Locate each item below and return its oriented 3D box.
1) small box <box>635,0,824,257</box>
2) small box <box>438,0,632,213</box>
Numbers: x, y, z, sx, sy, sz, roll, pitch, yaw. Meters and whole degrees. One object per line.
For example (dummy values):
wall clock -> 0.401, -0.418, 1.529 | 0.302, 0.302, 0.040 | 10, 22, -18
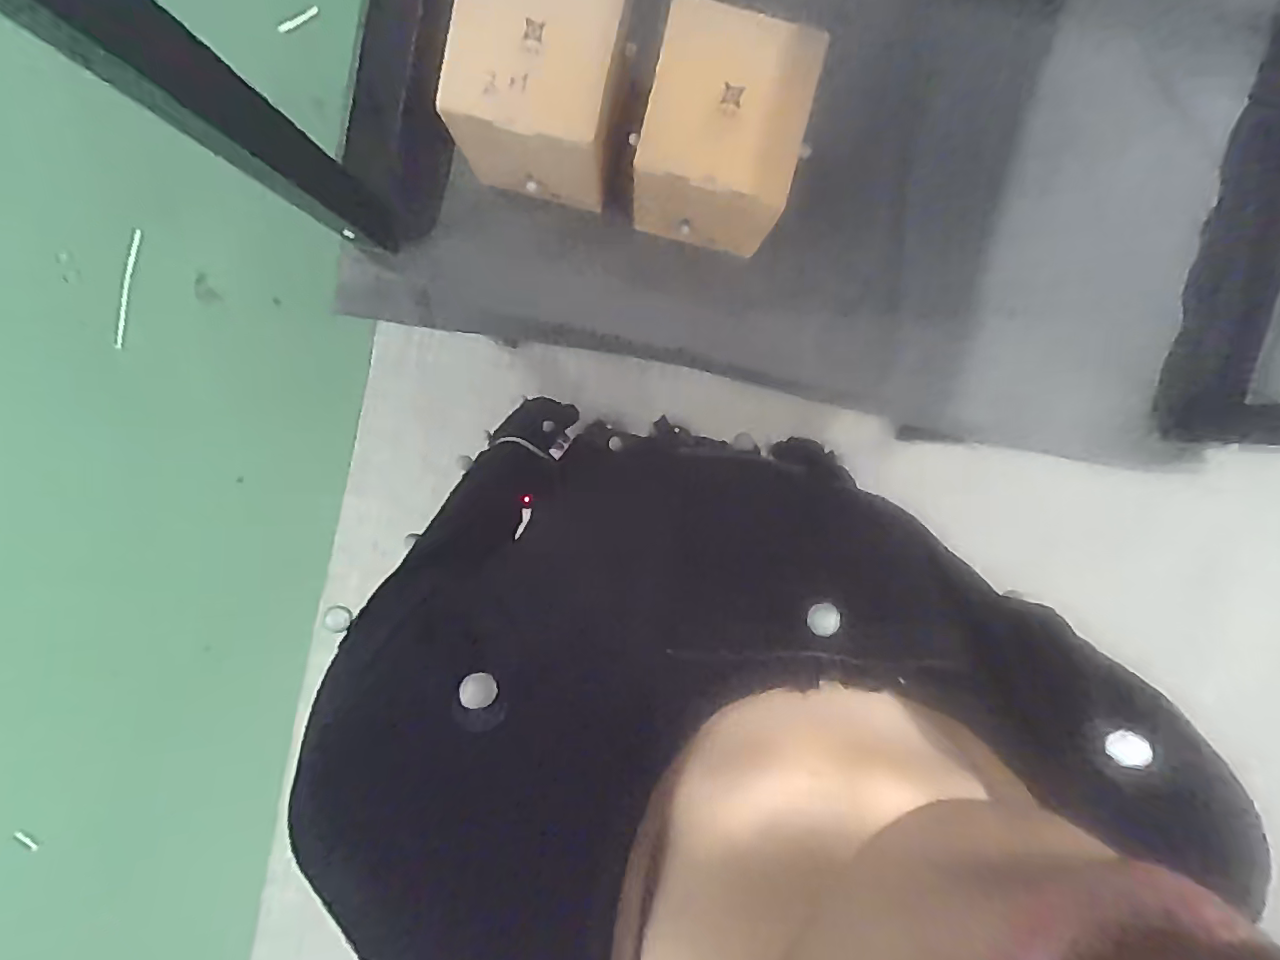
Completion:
small box -> 0.090, -0.393, 0.638 | 0.168, 0.176, 0.179 | 13, 95, -2
small box -> -0.110, -0.447, 0.628 | 0.168, 0.176, 0.179 | 13, 94, -2
